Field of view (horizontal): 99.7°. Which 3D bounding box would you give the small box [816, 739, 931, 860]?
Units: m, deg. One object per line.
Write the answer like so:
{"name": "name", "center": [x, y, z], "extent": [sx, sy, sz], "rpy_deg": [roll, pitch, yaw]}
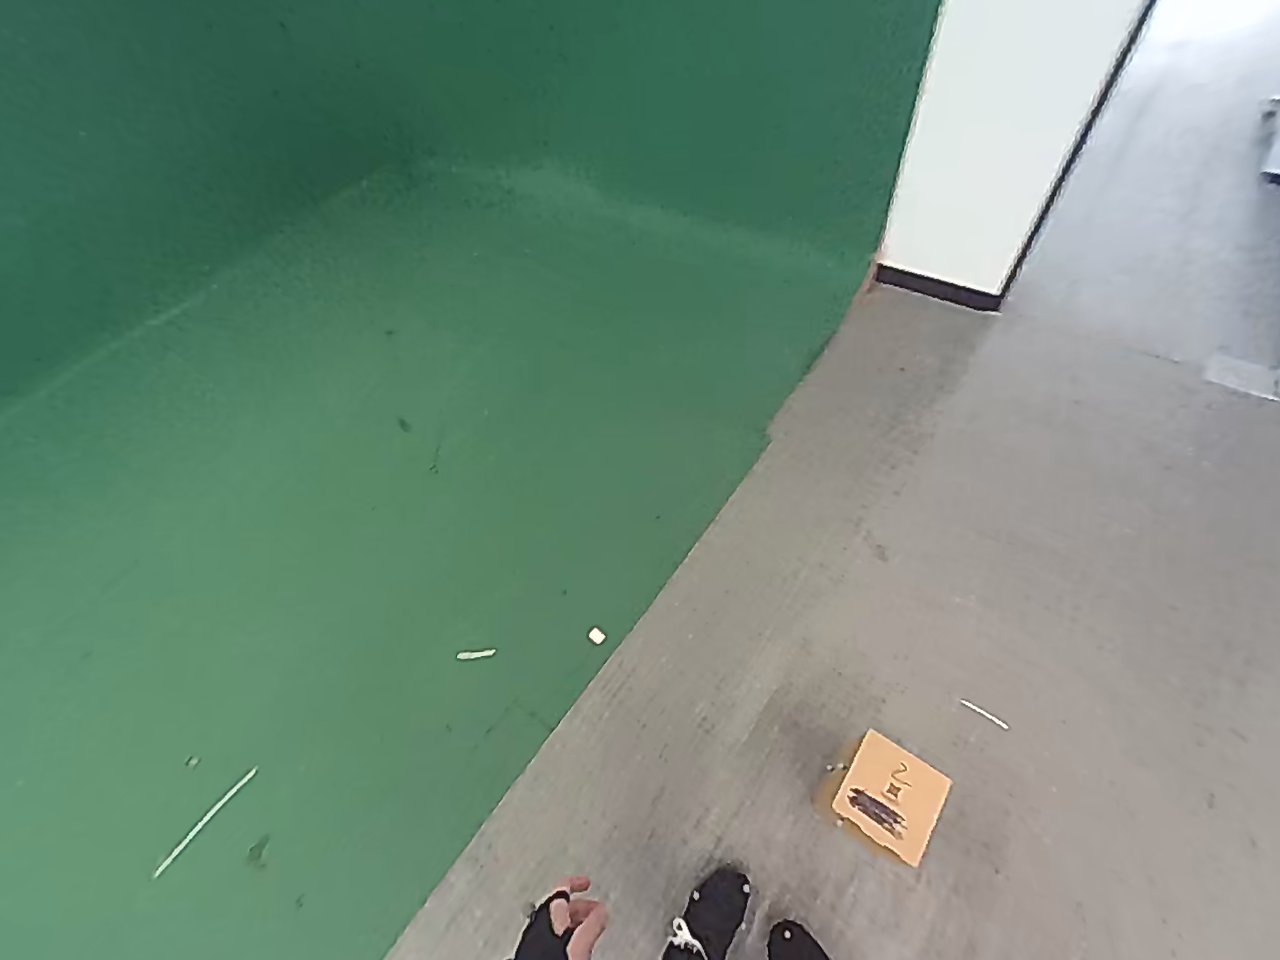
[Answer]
{"name": "small box", "center": [0.526, 0.734, 1.243], "extent": [0.179, 0.176, 0.168], "rpy_deg": [30, 67, 25]}
